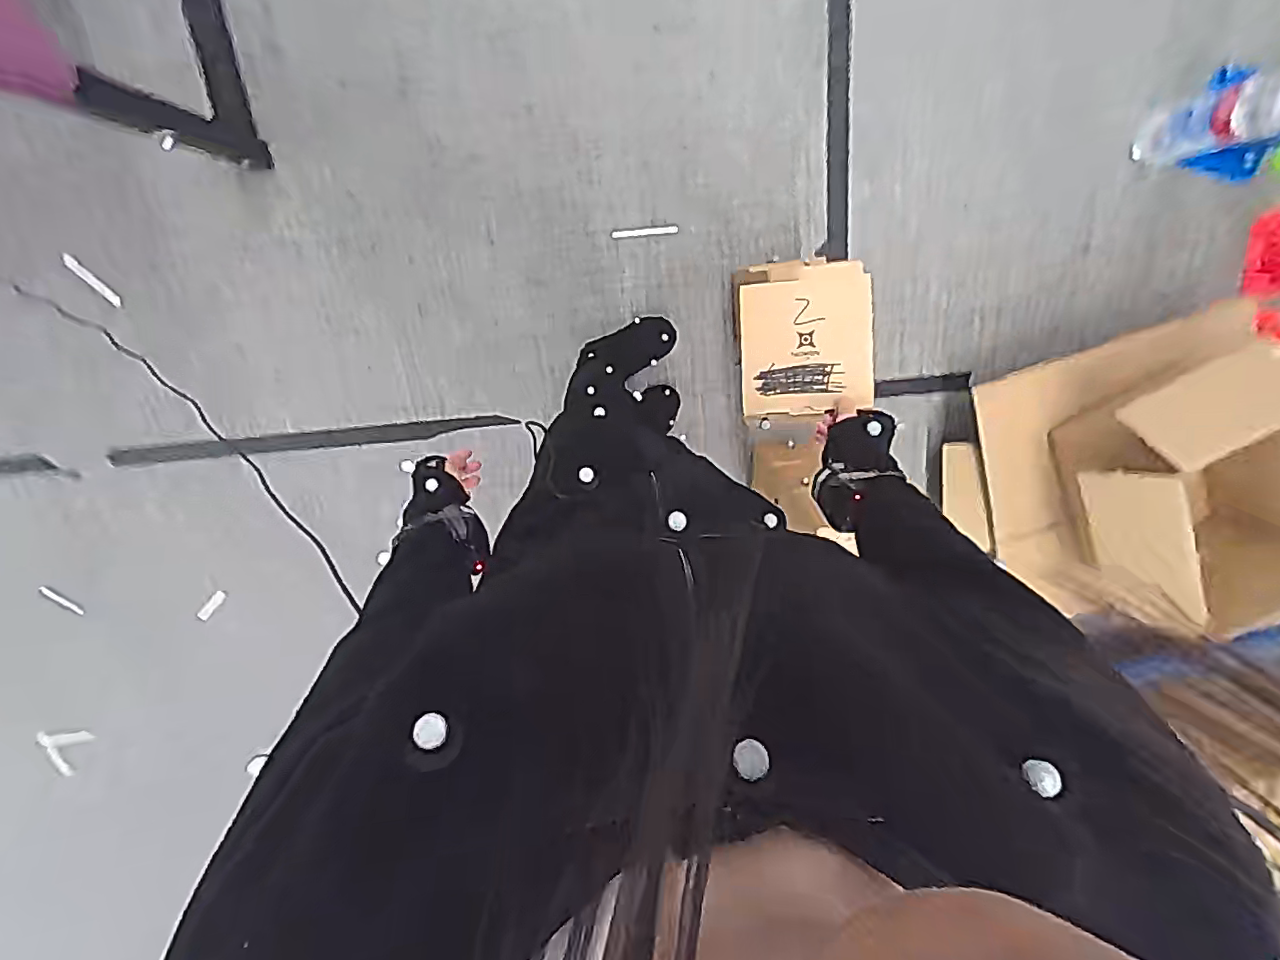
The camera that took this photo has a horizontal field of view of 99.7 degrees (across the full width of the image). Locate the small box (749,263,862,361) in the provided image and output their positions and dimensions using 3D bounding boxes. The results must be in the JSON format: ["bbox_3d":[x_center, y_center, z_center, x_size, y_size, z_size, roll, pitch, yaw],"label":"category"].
[{"bbox_3d":[0.319,-0.335,1.077,0.179,0.176,0.168,-6,110,-2],"label":"small box"}]

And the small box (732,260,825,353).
[{"bbox_3d":[0.311,-0.395,1.230,0.168,0.176,0.179,-8,109,-1],"label":"small box"}]

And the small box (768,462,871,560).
[{"bbox_3d":[0.398,0.065,1.225,0.179,0.176,0.168,-5,111,0],"label":"small box"}]

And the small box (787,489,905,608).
[{"bbox_3d":[0.398,0.132,1.076,0.168,0.176,0.179,-3,112,0],"label":"small box"}]

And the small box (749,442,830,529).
[{"bbox_3d":[0.378,0.011,1.378,0.168,0.176,0.179,-2,110,-2],"label":"small box"}]
